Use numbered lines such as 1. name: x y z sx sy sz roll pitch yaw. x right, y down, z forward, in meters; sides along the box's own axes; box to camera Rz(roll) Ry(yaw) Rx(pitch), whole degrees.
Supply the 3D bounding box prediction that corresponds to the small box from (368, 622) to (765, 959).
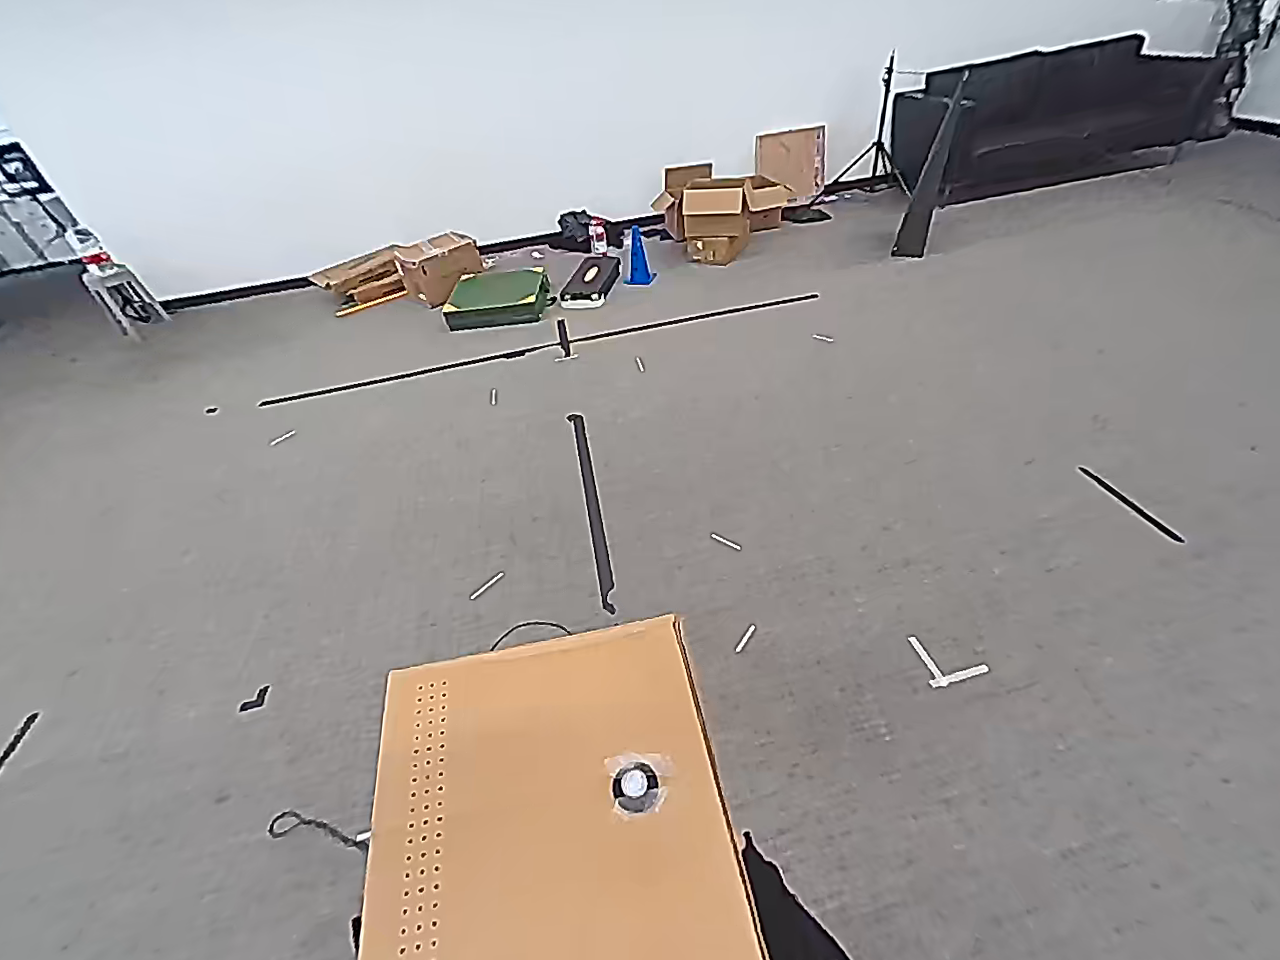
1. small box: -0.040 0.214 0.322 0.176 0.168 0.179 -11 50 -4
